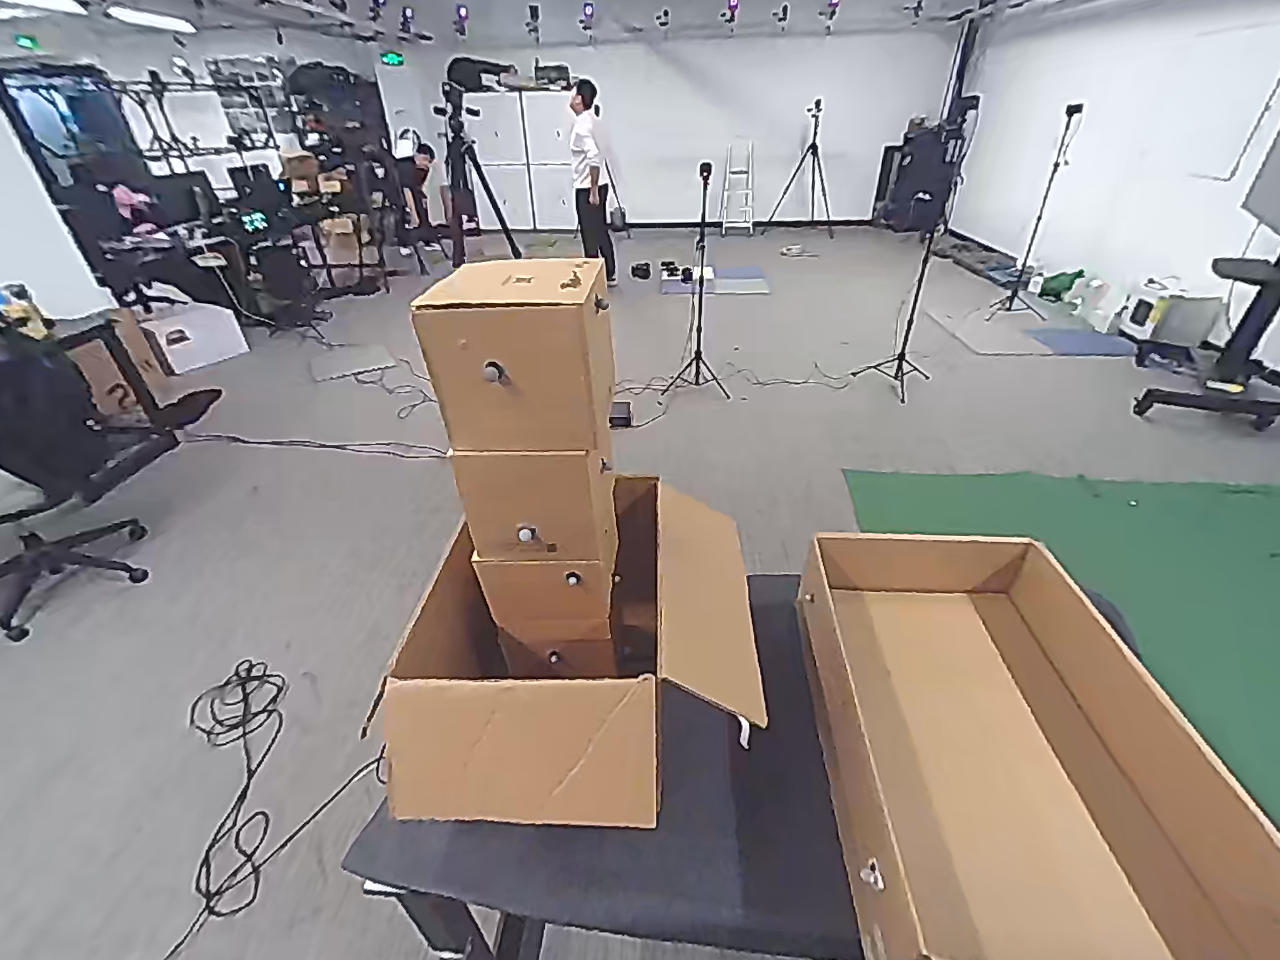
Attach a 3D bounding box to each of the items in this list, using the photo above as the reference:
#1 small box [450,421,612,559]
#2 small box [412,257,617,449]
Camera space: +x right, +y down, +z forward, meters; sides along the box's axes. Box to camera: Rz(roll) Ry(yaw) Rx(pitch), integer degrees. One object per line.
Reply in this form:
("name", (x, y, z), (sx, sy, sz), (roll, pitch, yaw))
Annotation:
("small box", (-0.130, -0.016, 0.728), (0.168, 0.176, 0.179), (0, 38, 5))
("small box", (-0.127, -0.147, 0.629), (0.179, 0.176, 0.168), (0, 37, 5))
